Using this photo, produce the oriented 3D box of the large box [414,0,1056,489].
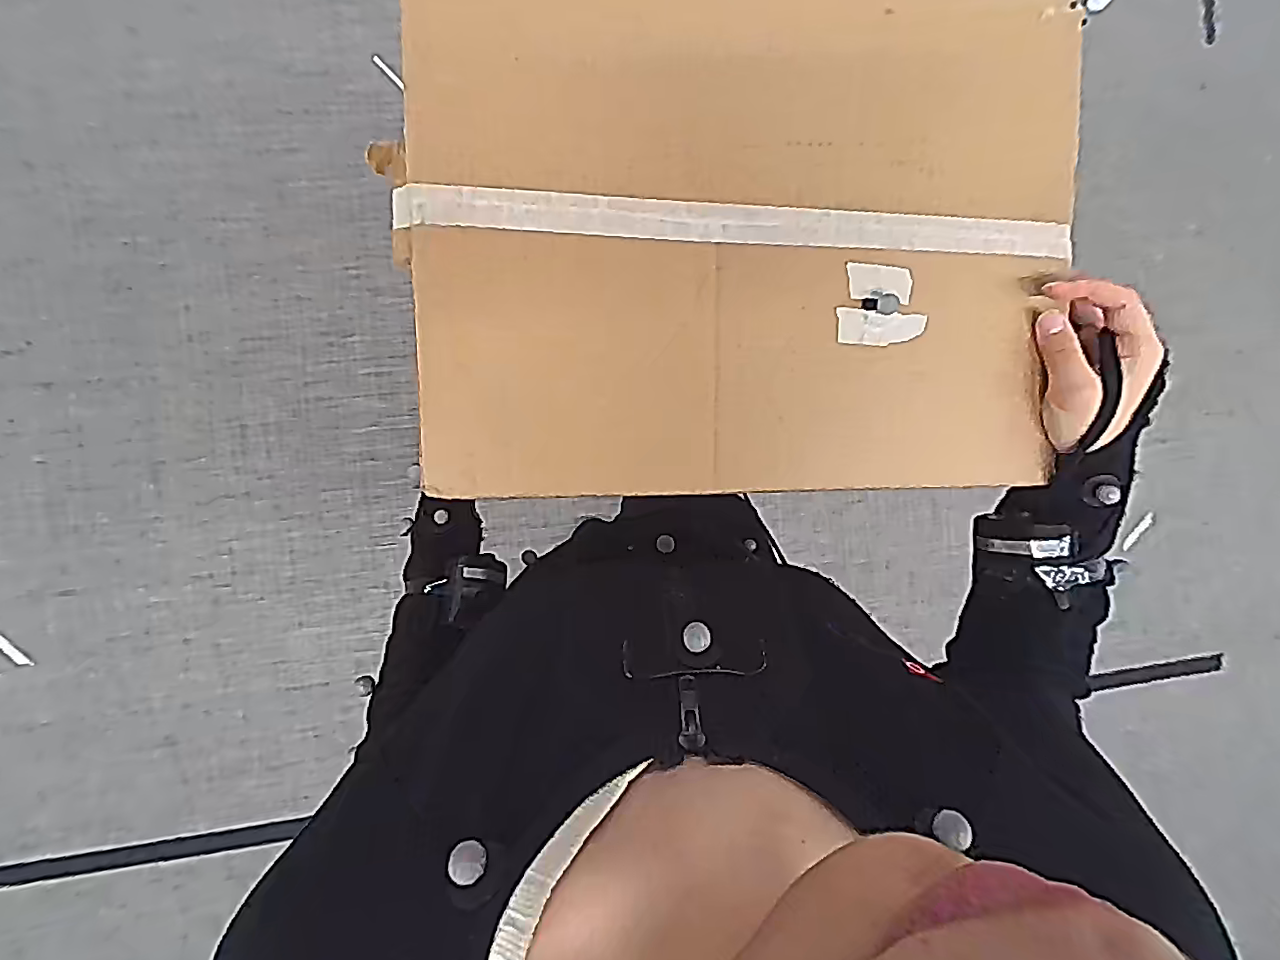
[{"bbox_3d":[0.049,-0.167,0.473,0.408,0.320,0.320,-1,96,-11],"label":"large box"}]
